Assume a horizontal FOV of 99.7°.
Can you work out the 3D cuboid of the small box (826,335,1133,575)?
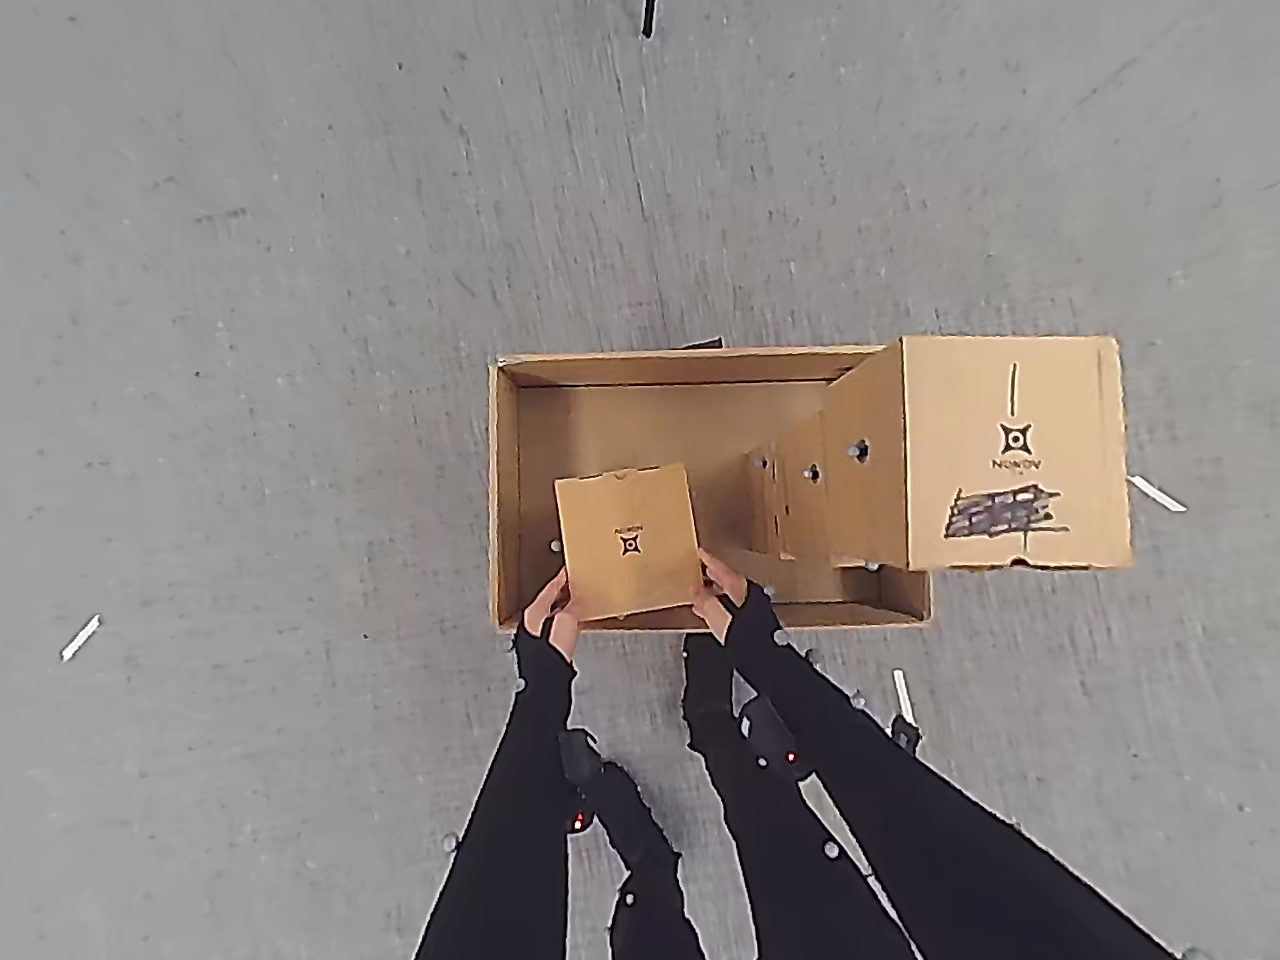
[{"bbox_3d":[0.272,-0.015,0.471,0.168,0.176,0.179,0,86,0],"label":"small box"}]

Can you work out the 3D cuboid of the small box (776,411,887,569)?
[{"bbox_3d":[0.272,0.010,0.635,0.179,0.176,0.168,-4,86,-1],"label":"small box"}]

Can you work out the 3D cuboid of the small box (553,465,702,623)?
[{"bbox_3d":[-0.019,0.085,0.739,0.168,0.176,0.179,-8,83,-5],"label":"small box"}]
